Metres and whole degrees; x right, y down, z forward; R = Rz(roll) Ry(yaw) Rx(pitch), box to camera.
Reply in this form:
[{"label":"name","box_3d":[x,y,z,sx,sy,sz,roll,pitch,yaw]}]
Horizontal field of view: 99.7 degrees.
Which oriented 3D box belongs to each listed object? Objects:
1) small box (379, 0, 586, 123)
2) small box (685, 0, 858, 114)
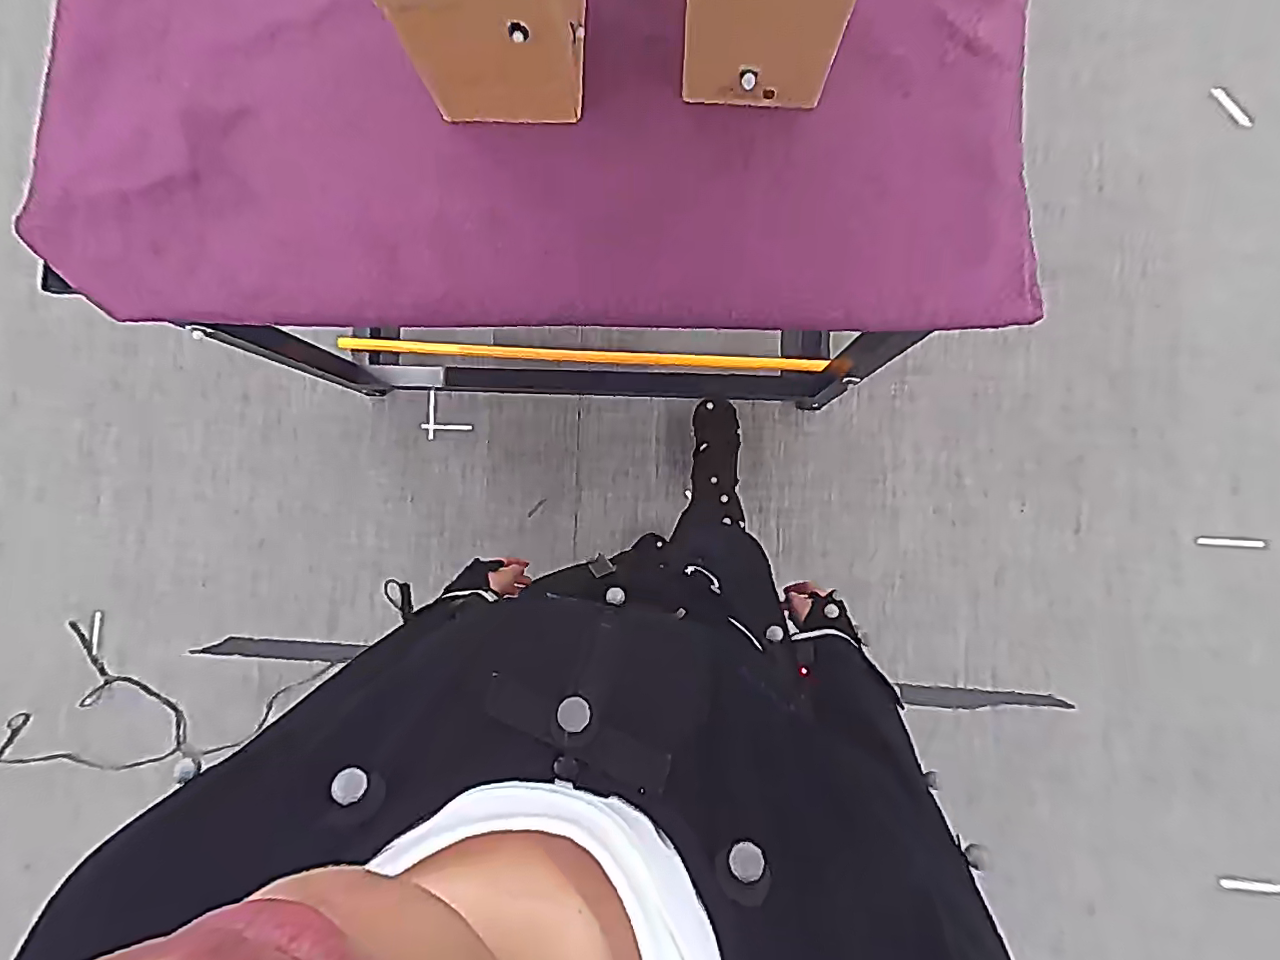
[{"label":"small box","box_3d":[-0.162,-0.535,0.605,0.179,0.176,0.168,2,87,2]},{"label":"small box","box_3d":[0.140,-0.549,0.590,0.168,0.176,0.179,6,88,3]}]
